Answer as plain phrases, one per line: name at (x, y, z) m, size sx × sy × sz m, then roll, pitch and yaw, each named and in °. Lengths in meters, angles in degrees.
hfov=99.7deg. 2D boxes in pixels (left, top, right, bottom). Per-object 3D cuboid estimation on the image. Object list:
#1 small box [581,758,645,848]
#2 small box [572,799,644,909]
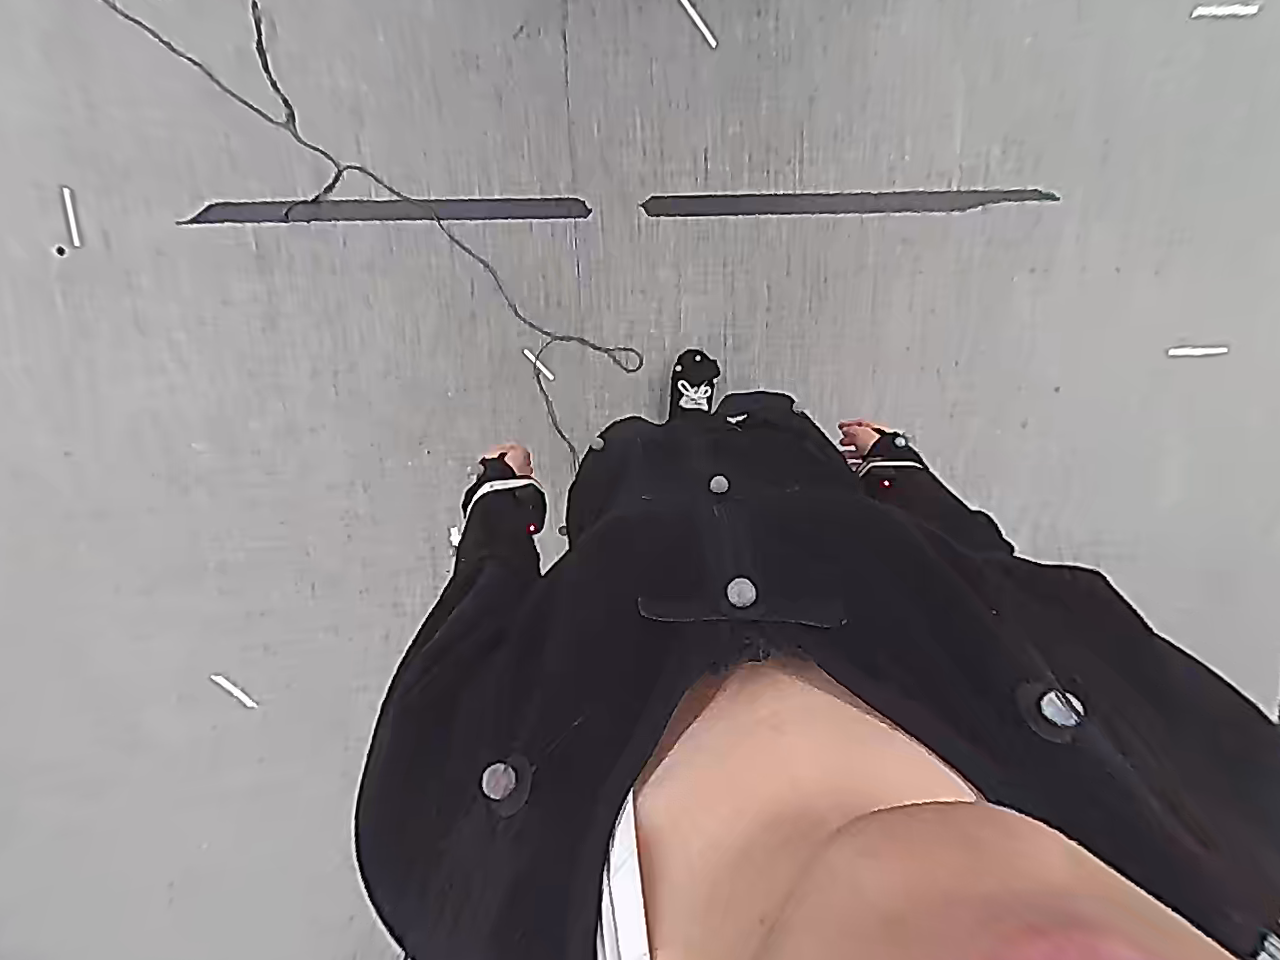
small box at (-0.076, 0.938, 1.577) m, size 0.168 × 0.176 × 0.179 m, roll -6°, pitch 101°, yaw 1°
small box at (-0.081, 0.967, 1.415) m, size 0.168 × 0.176 × 0.179 m, roll -5°, pitch 101°, yaw 1°
